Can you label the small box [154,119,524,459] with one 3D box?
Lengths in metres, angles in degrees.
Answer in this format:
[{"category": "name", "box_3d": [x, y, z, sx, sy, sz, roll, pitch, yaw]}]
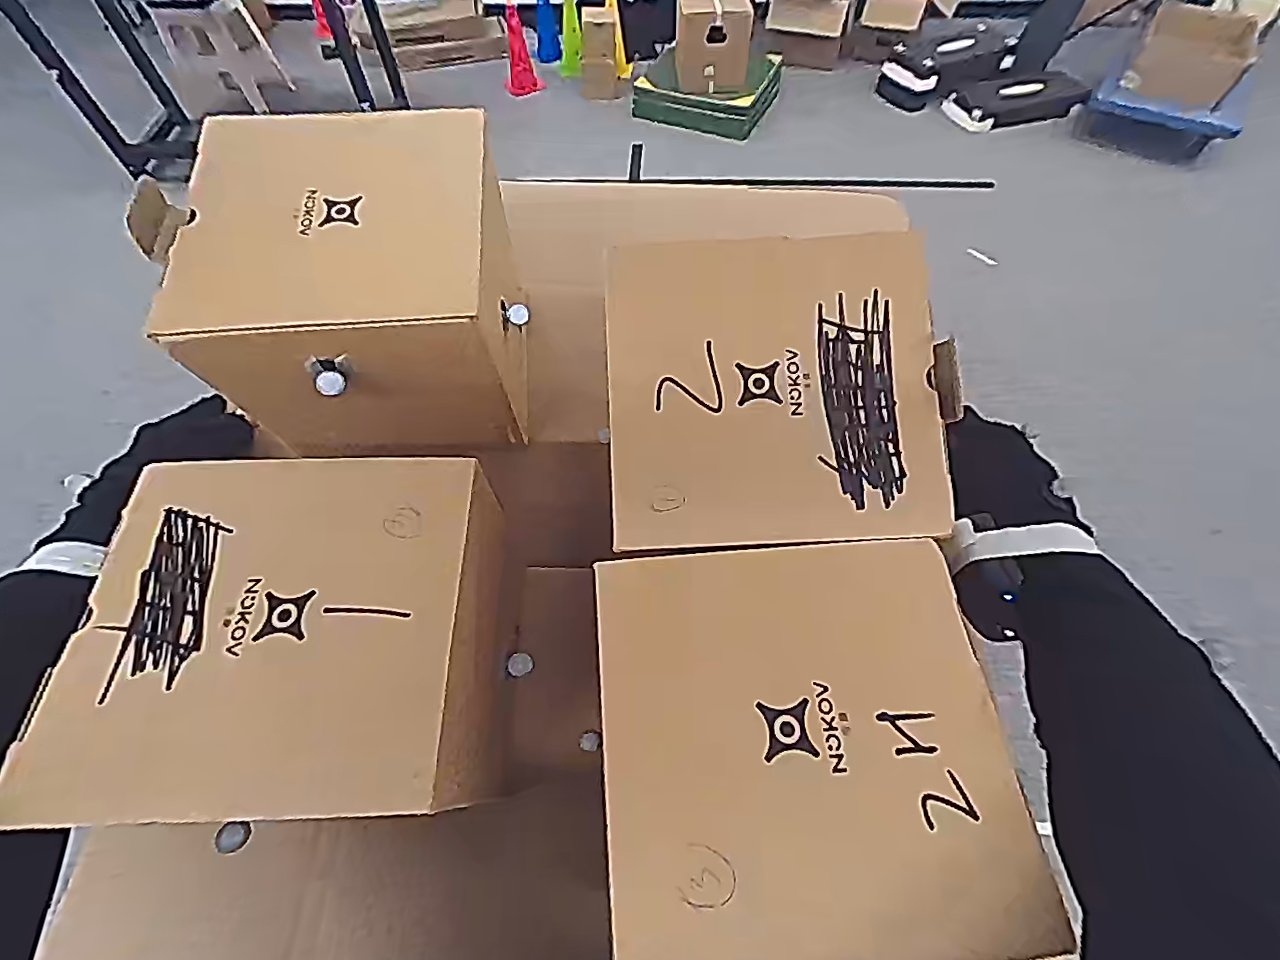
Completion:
[{"category": "small box", "box_3d": [-0.184, -0.125, 0.398, 0.179, 0.176, 0.168, -5, 68, -2]}]
